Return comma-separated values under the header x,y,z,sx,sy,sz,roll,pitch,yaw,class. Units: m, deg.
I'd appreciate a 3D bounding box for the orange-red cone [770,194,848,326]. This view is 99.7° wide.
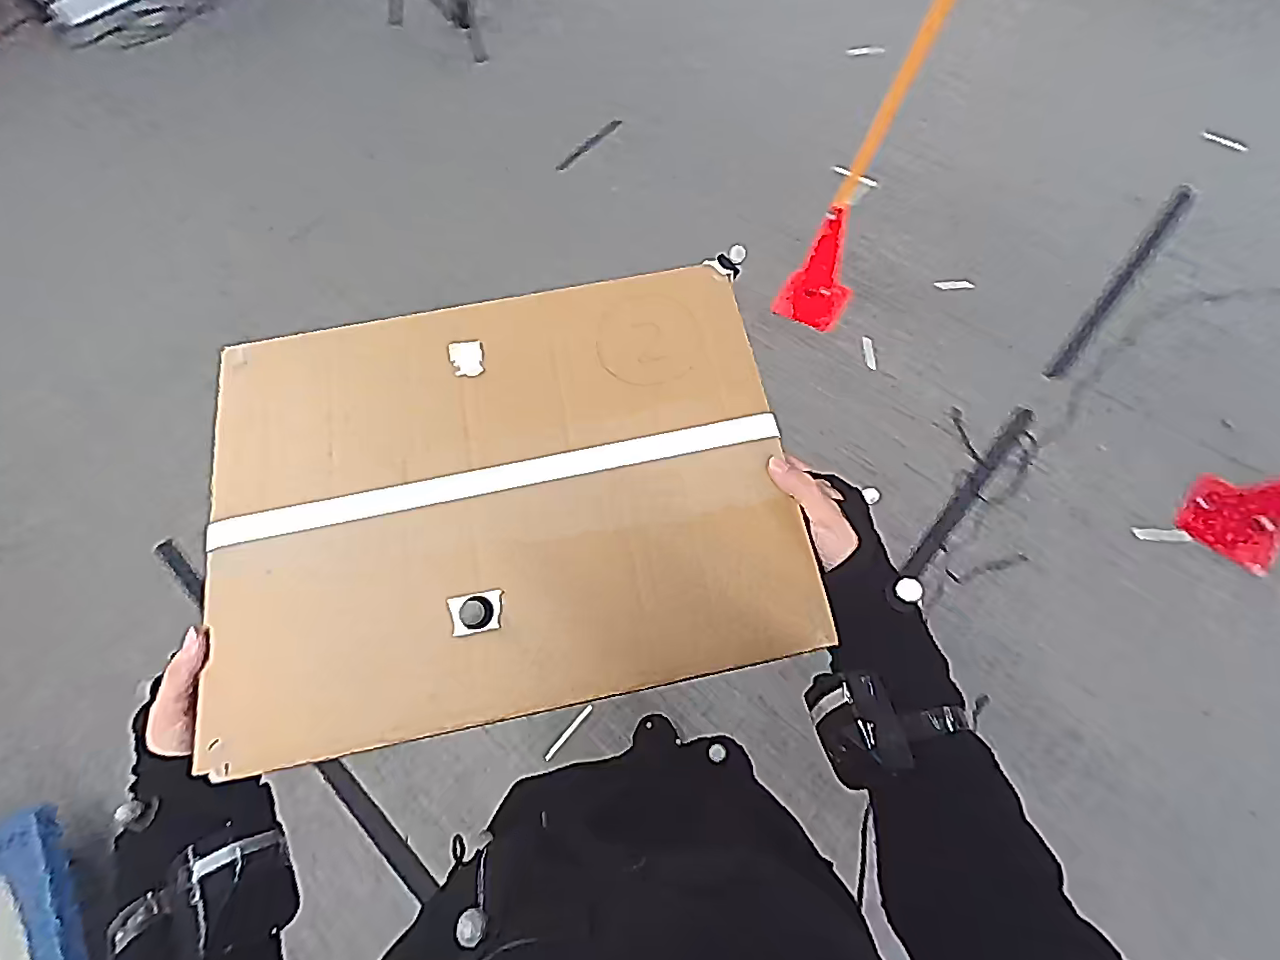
x,y,z,sx,sy,sz,roll,pitch,yaw,class
0.525,-0.660,1.569,0.199,0.360,0.198,28,70,17,orange-red cone
